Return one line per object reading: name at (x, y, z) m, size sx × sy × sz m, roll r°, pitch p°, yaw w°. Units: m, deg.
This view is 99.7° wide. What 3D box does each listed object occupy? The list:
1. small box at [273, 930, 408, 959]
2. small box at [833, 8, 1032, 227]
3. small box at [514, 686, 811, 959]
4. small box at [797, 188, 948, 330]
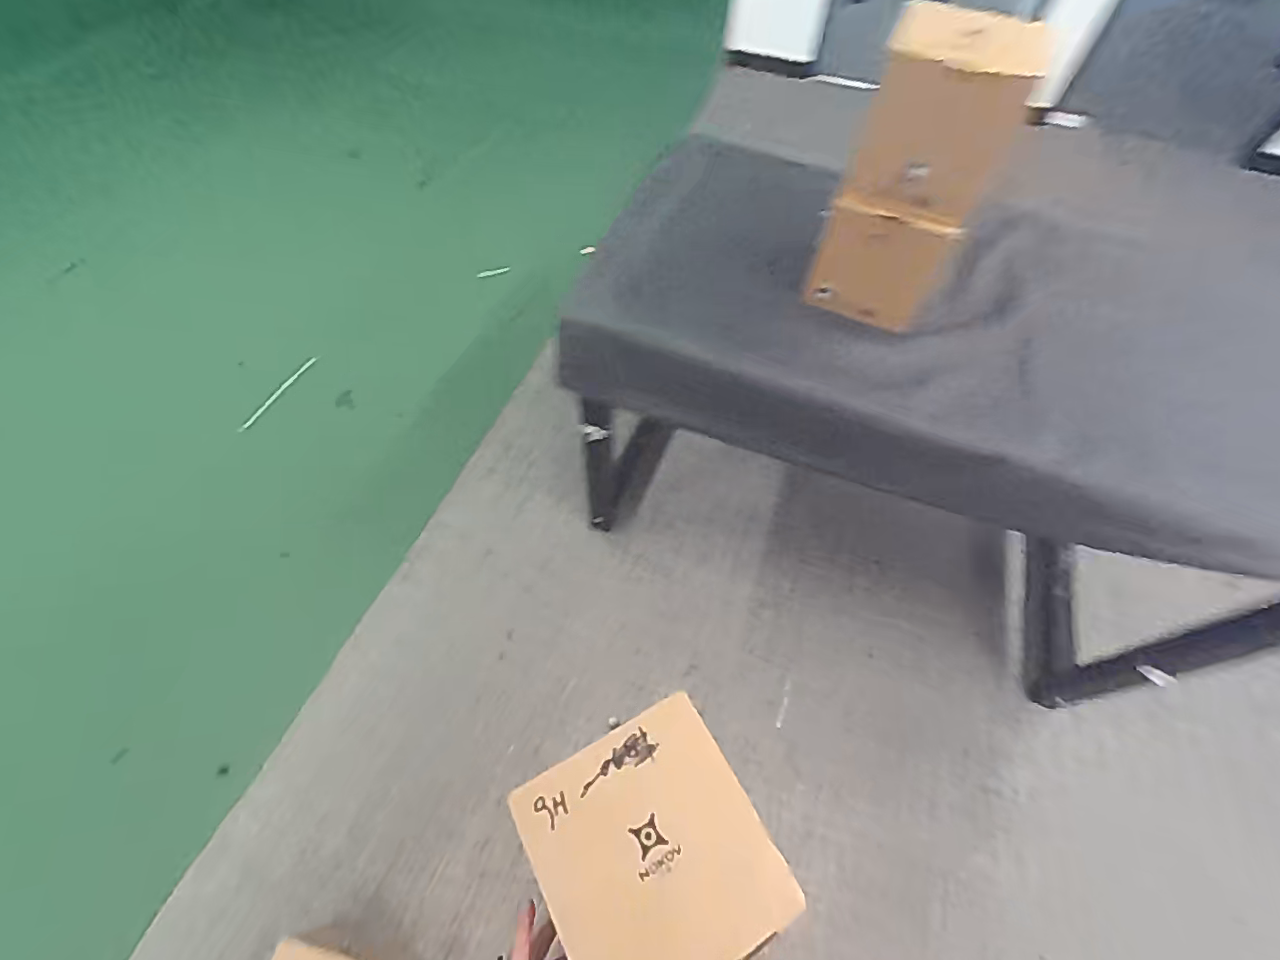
small box at (-0.508, 0.859, 0.873) m, size 0.179 × 0.176 × 0.168 m, roll 12°, pitch 56°, yaw 6°
small box at (0.366, -0.464, 0.698) m, size 0.168 × 0.176 × 0.179 m, roll 20°, pitch 58°, yaw 11°
small box at (0.009, 0.312, 0.469) m, size 0.168 × 0.176 × 0.179 m, roll -24°, pitch 62°, yaw -18°
small box at (0.356, -0.361, 0.827) m, size 0.168 × 0.176 × 0.179 m, roll 22°, pitch 58°, yaw 11°
